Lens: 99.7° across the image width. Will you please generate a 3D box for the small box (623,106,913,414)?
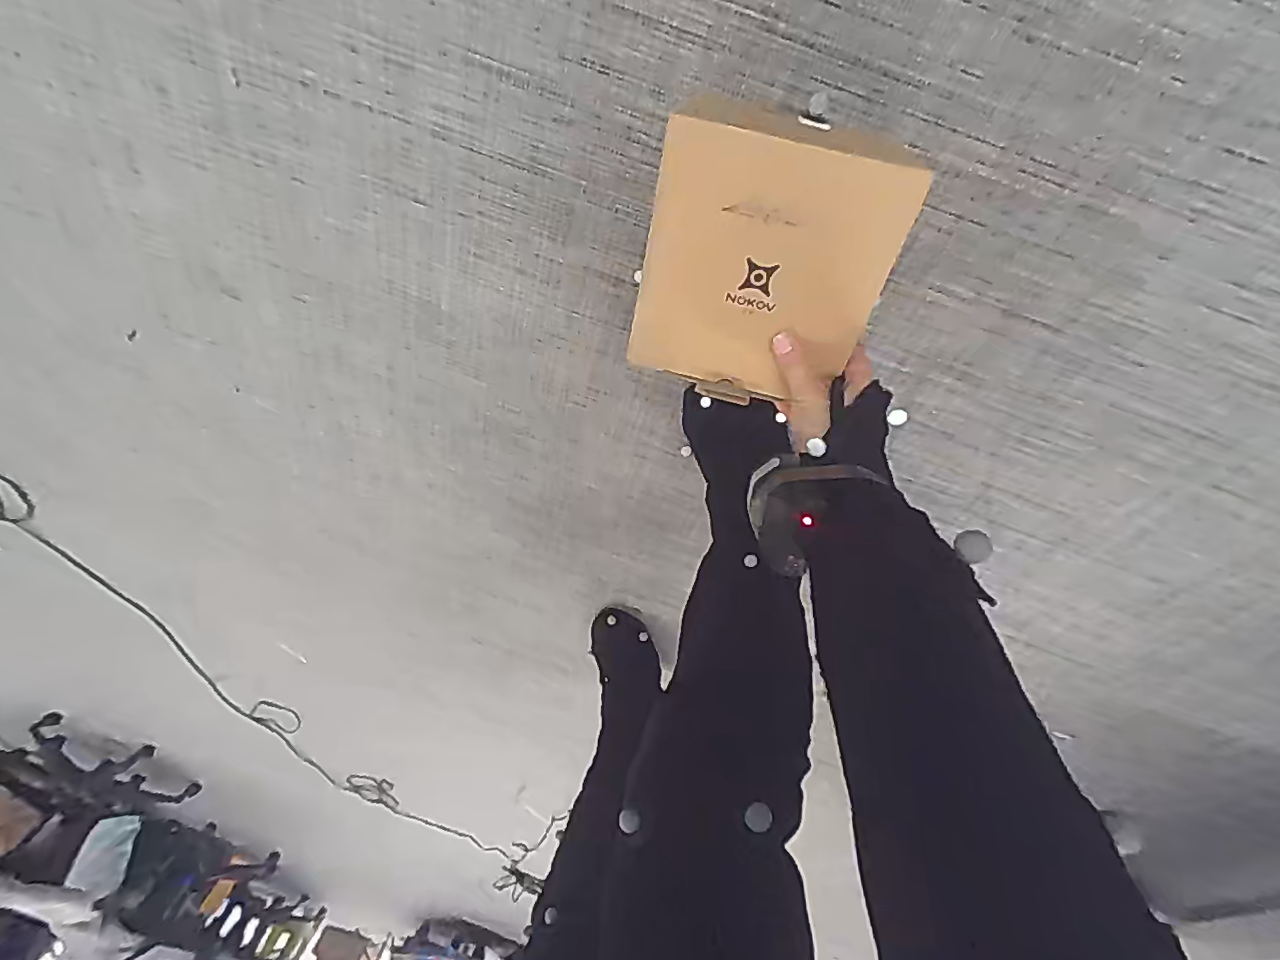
[{"bbox_3d":[0.093,-0.186,0.449,0.168,0.176,0.179,14,129,2],"label":"small box"}]
